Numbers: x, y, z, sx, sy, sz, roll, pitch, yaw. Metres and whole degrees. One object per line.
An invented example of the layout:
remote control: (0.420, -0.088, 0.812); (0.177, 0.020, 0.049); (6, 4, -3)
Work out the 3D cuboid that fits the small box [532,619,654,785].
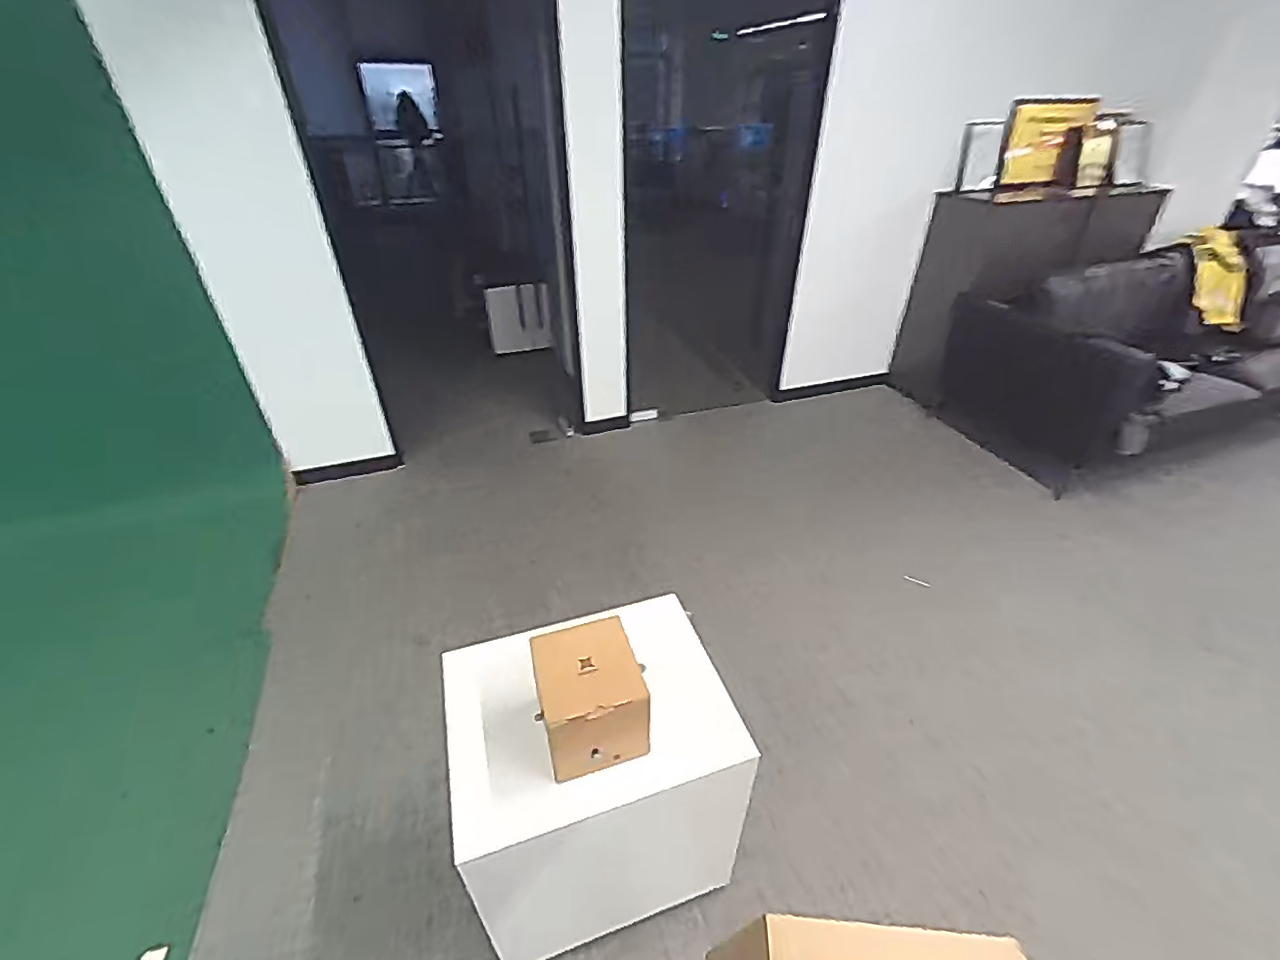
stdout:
small box: (-0.083, 0.372, 0.917); (0.168, 0.176, 0.179); (-11, 35, -15)
